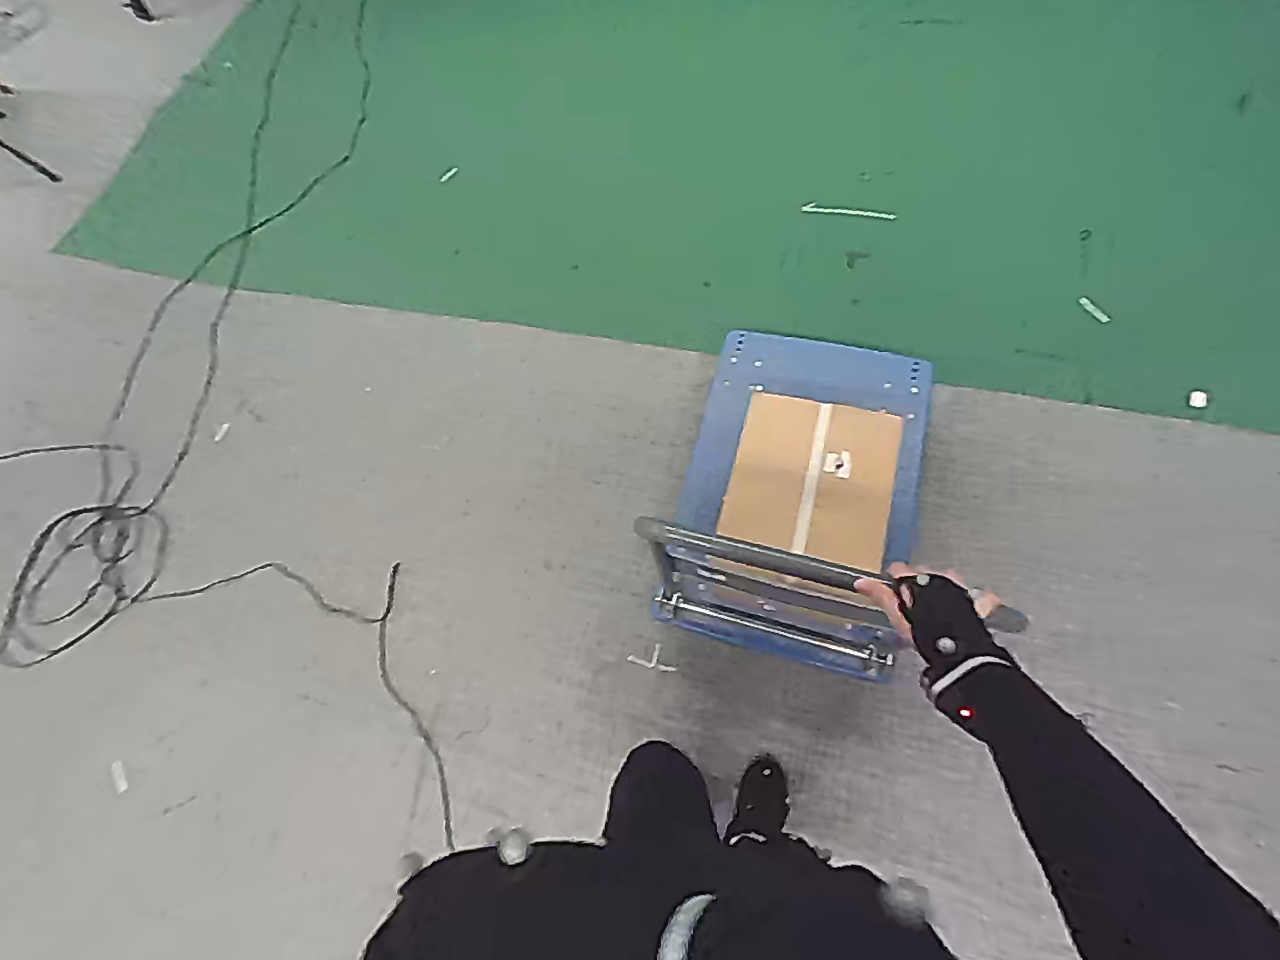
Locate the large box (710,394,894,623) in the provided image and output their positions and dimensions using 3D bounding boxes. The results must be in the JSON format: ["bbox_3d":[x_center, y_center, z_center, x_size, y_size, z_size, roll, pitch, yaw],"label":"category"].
[{"bbox_3d":[0.353,0.074,1.224,0.320,0.320,0.408,12,70,13],"label":"large box"}]
